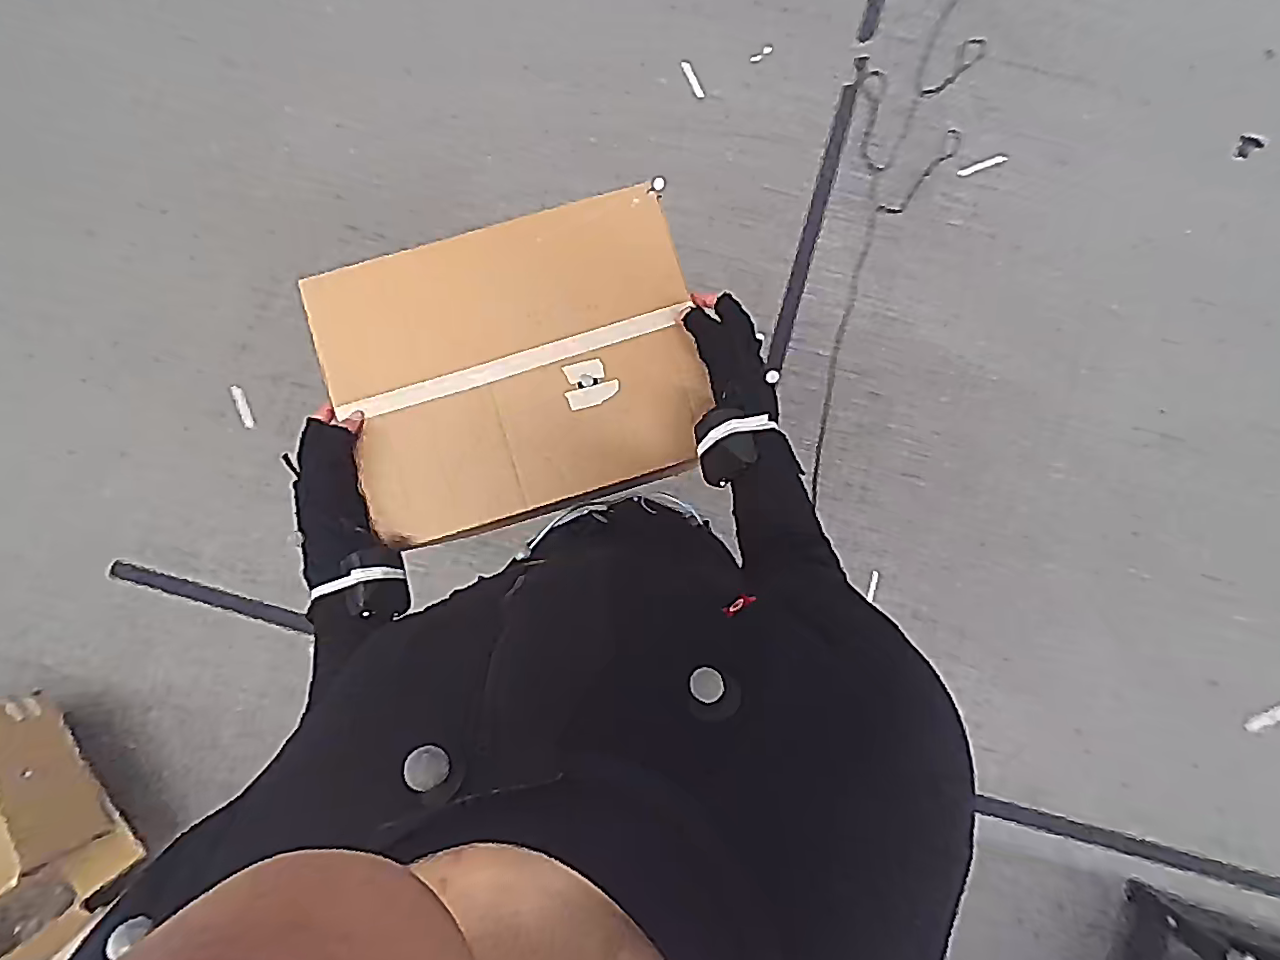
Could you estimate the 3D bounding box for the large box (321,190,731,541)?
[{"bbox_3d":[-0.134,-0.125,0.756,0.408,0.320,0.320,-16,89,-3],"label":"large box"}]
